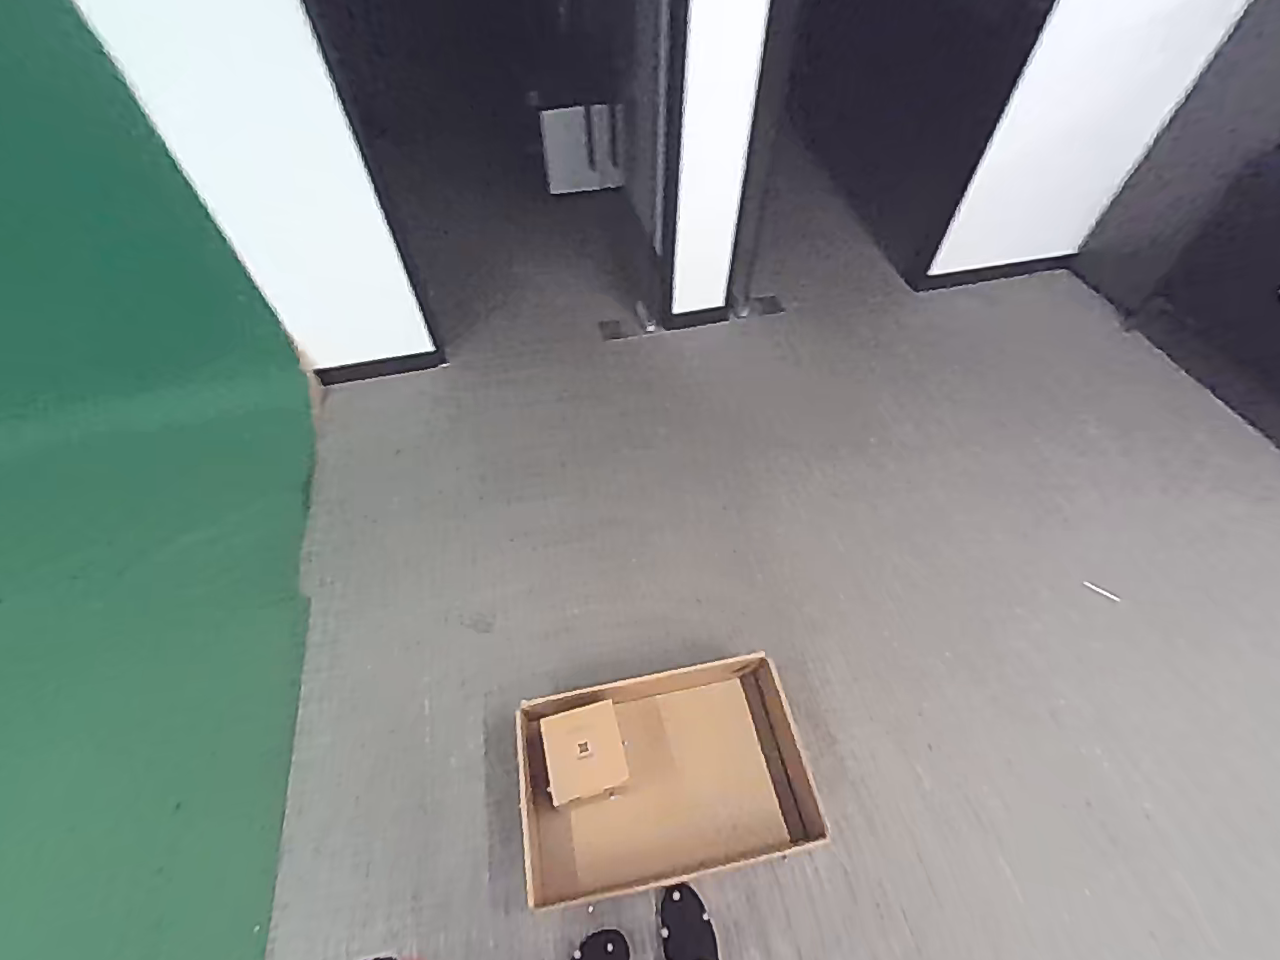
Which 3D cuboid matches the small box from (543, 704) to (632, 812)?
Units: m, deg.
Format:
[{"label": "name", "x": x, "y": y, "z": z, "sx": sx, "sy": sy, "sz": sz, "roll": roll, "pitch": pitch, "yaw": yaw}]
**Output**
[{"label": "small box", "x": -0.114, "y": 0.631, "z": 1.218, "sx": 0.168, "sy": 0.176, "sz": 0.179, "roll": -12, "pitch": 55, "yaw": -9}]
